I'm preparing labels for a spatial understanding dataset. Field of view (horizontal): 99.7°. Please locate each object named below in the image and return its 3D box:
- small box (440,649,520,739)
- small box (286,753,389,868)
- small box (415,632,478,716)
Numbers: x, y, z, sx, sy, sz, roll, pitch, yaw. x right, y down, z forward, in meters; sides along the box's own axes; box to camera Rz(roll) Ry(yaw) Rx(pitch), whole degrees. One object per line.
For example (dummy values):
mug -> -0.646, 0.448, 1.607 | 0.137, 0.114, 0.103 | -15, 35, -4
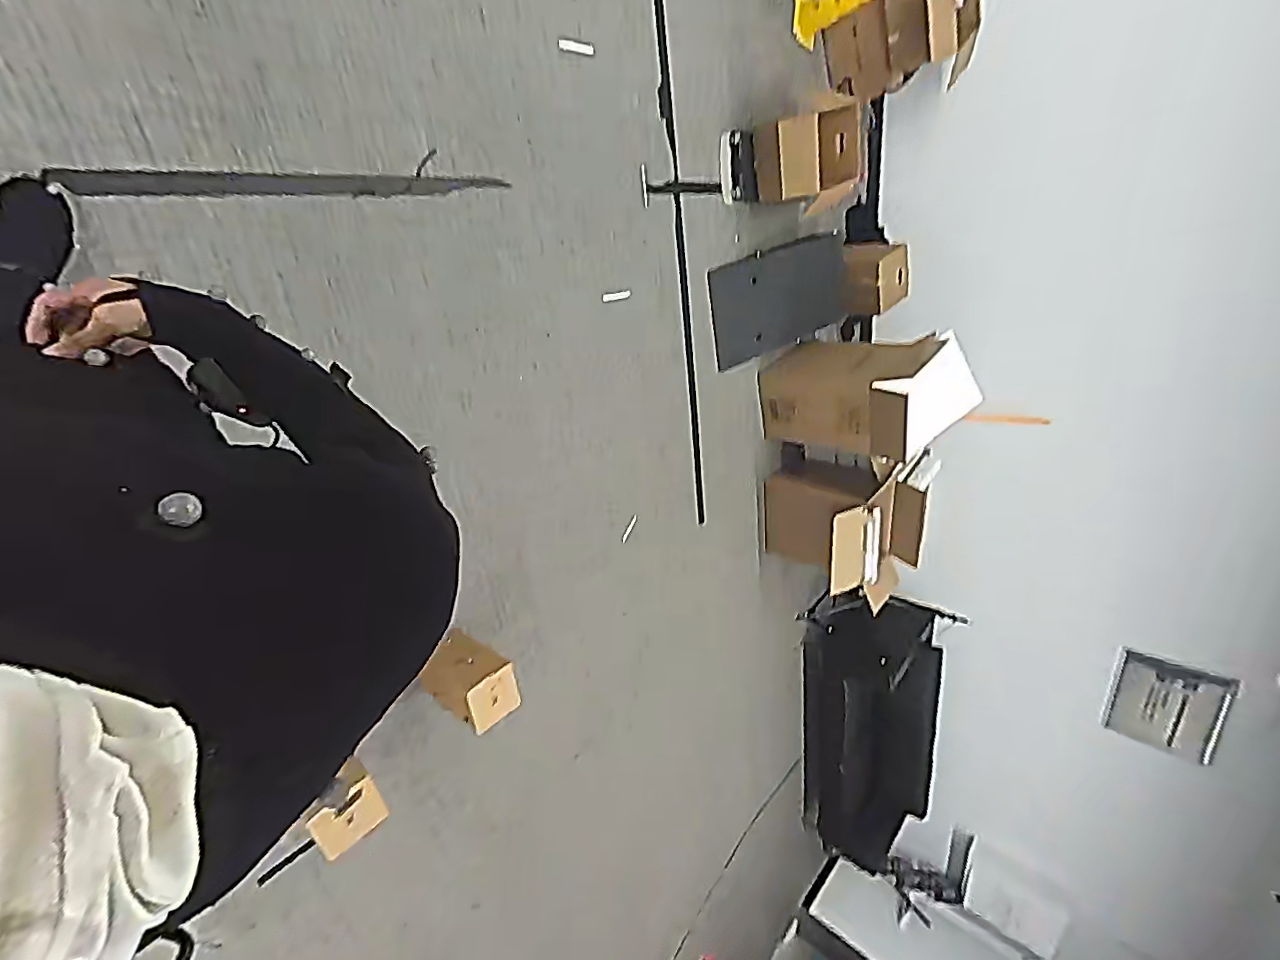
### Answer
small box -> -0.510, 0.675, 1.726 | 0.168, 0.176, 0.179 | -27, 119, -42
small box -> -0.812, 0.872, 1.450 | 0.168, 0.176, 0.179 | -31, 124, -39
small box -> -0.635, 0.651, 1.831 | 0.168, 0.176, 0.179 | -26, 119, -42
